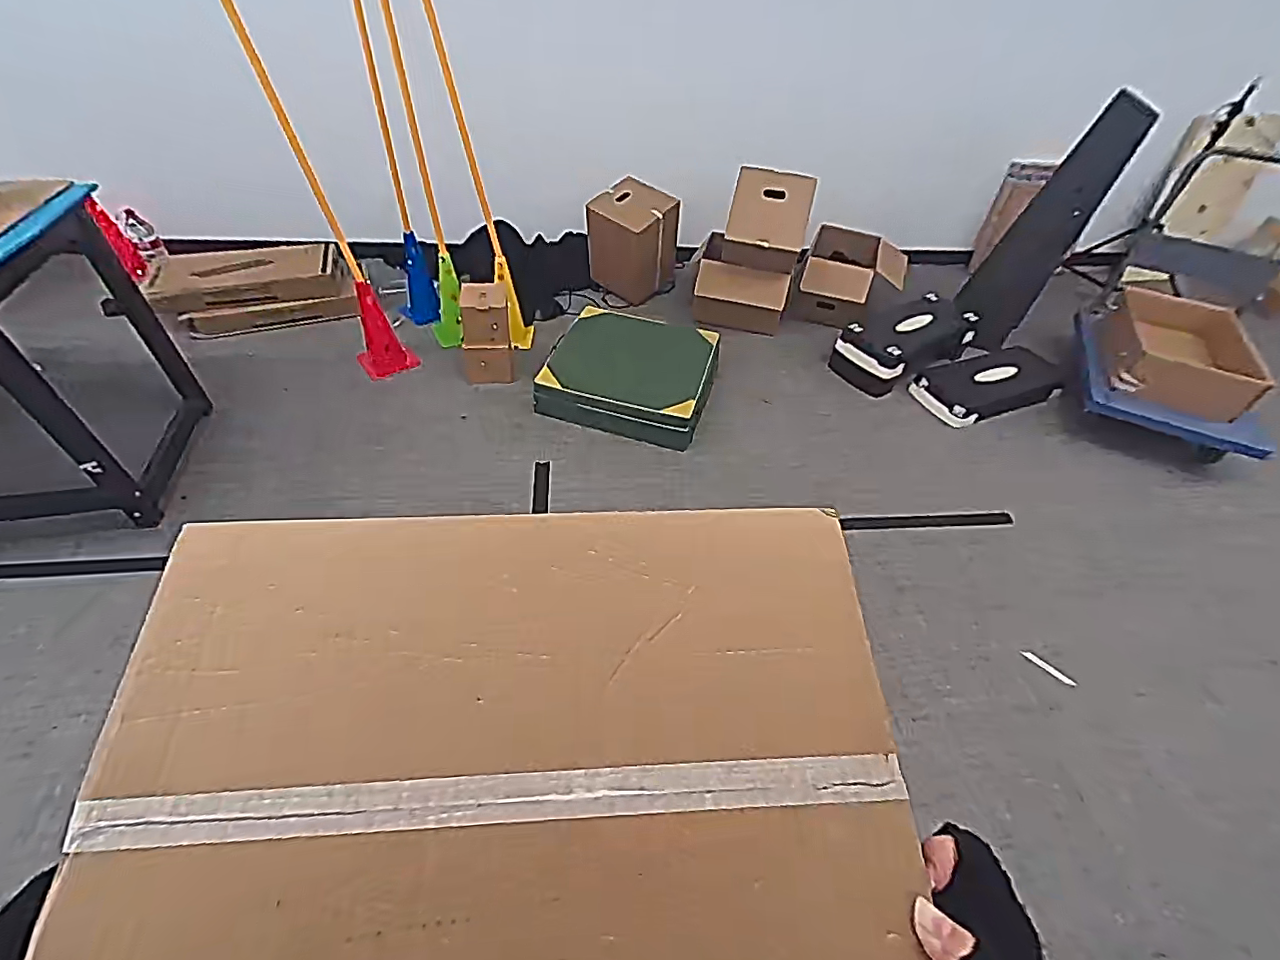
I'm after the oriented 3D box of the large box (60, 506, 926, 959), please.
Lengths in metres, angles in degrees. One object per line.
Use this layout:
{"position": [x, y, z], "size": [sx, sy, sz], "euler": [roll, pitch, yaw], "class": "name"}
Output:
{"position": [-0.073, 0.229, 0.416], "size": [0.408, 0.320, 0.320], "euler": [-1, 63, -4], "class": "large box"}
